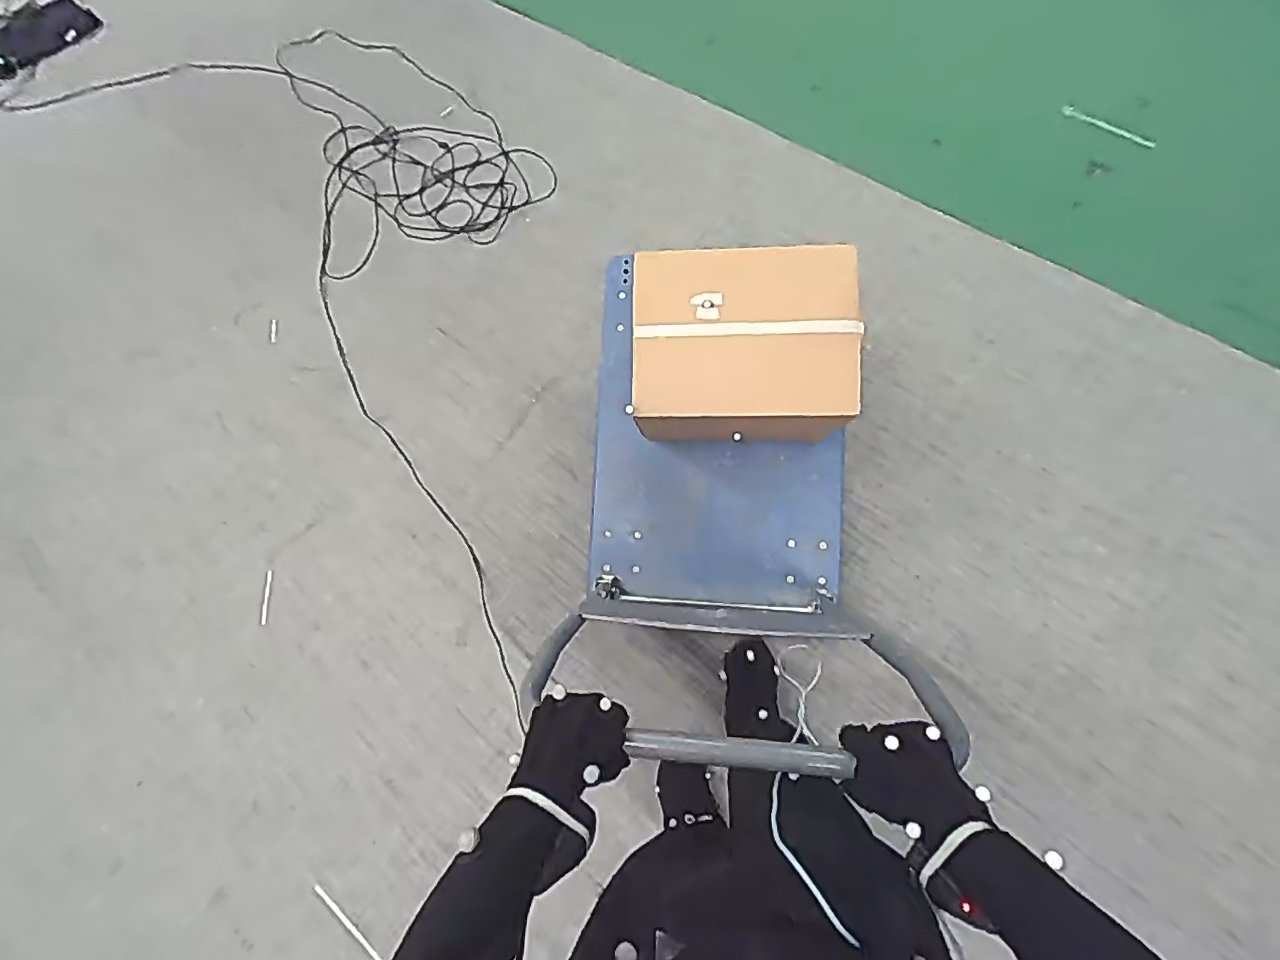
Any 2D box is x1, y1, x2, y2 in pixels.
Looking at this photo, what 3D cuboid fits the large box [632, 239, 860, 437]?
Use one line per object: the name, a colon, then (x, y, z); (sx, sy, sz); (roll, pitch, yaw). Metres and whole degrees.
large box: (0.205, -0.263, 1.120); (0.408, 0.320, 0.320); (0, 86, 7)
